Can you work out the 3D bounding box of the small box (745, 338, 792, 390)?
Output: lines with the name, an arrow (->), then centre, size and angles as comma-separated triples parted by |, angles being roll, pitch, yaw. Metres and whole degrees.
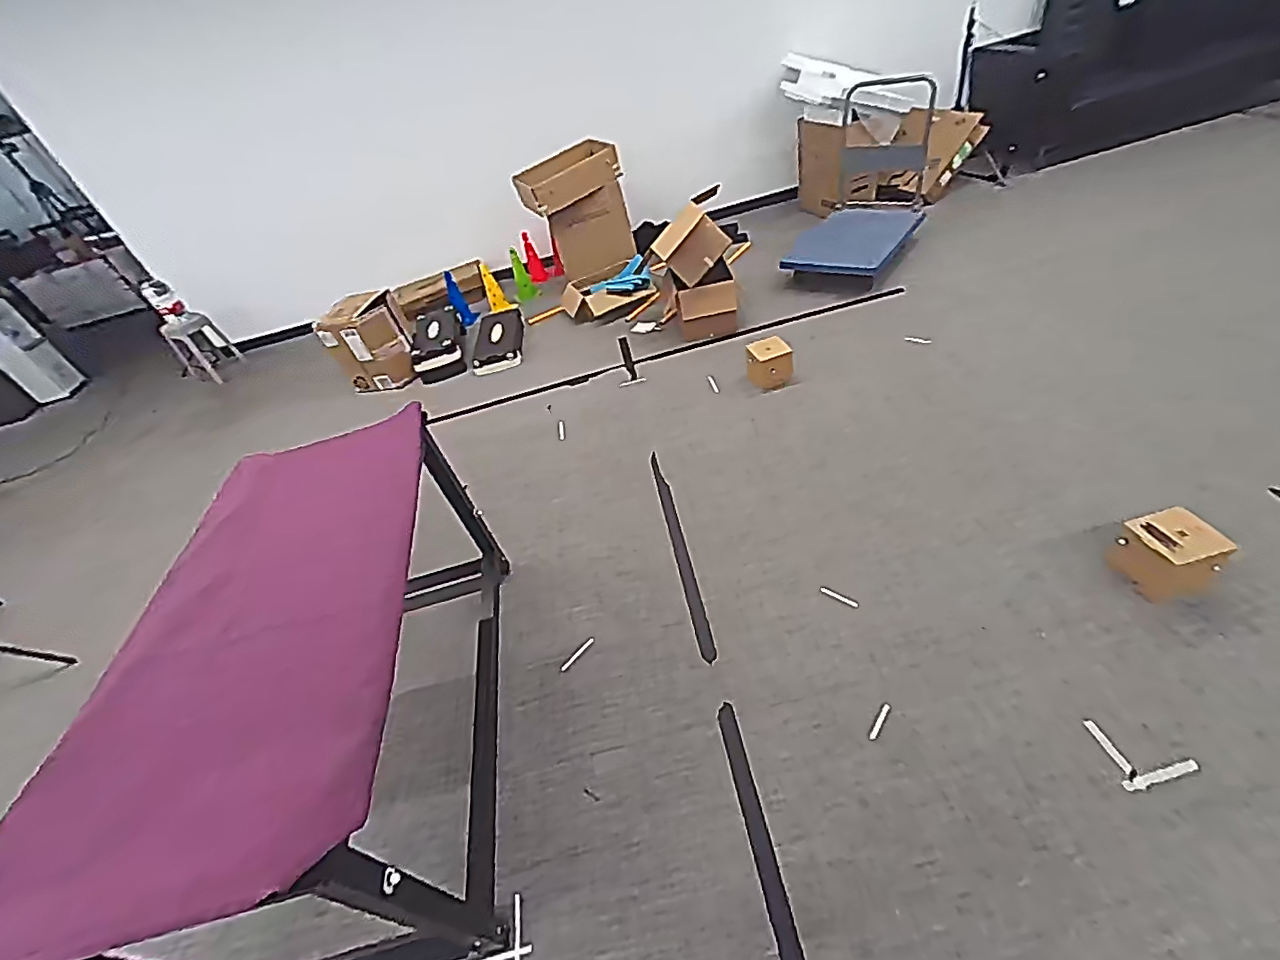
small box -> 0.628, -0.558, 2.632 | 0.168, 0.176, 0.179 | -20, 41, -5
